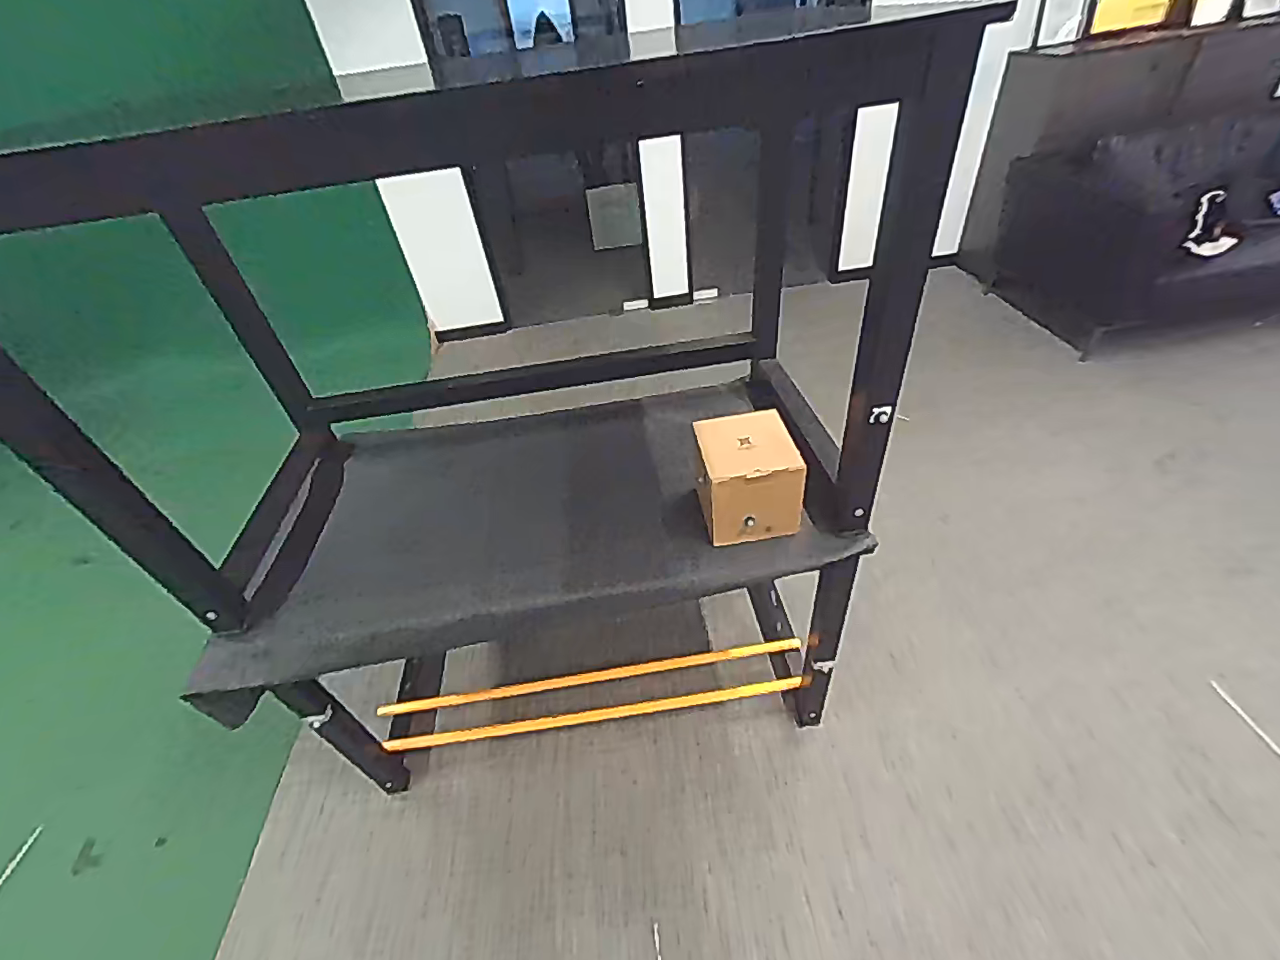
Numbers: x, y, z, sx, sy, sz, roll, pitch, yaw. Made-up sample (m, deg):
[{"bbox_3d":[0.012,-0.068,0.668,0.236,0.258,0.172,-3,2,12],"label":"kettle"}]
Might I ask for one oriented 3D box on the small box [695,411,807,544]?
[{"bbox_3d":[0.201,-0.005,1.019,0.168,0.176,0.179,-9,41,0],"label":"small box"}]
